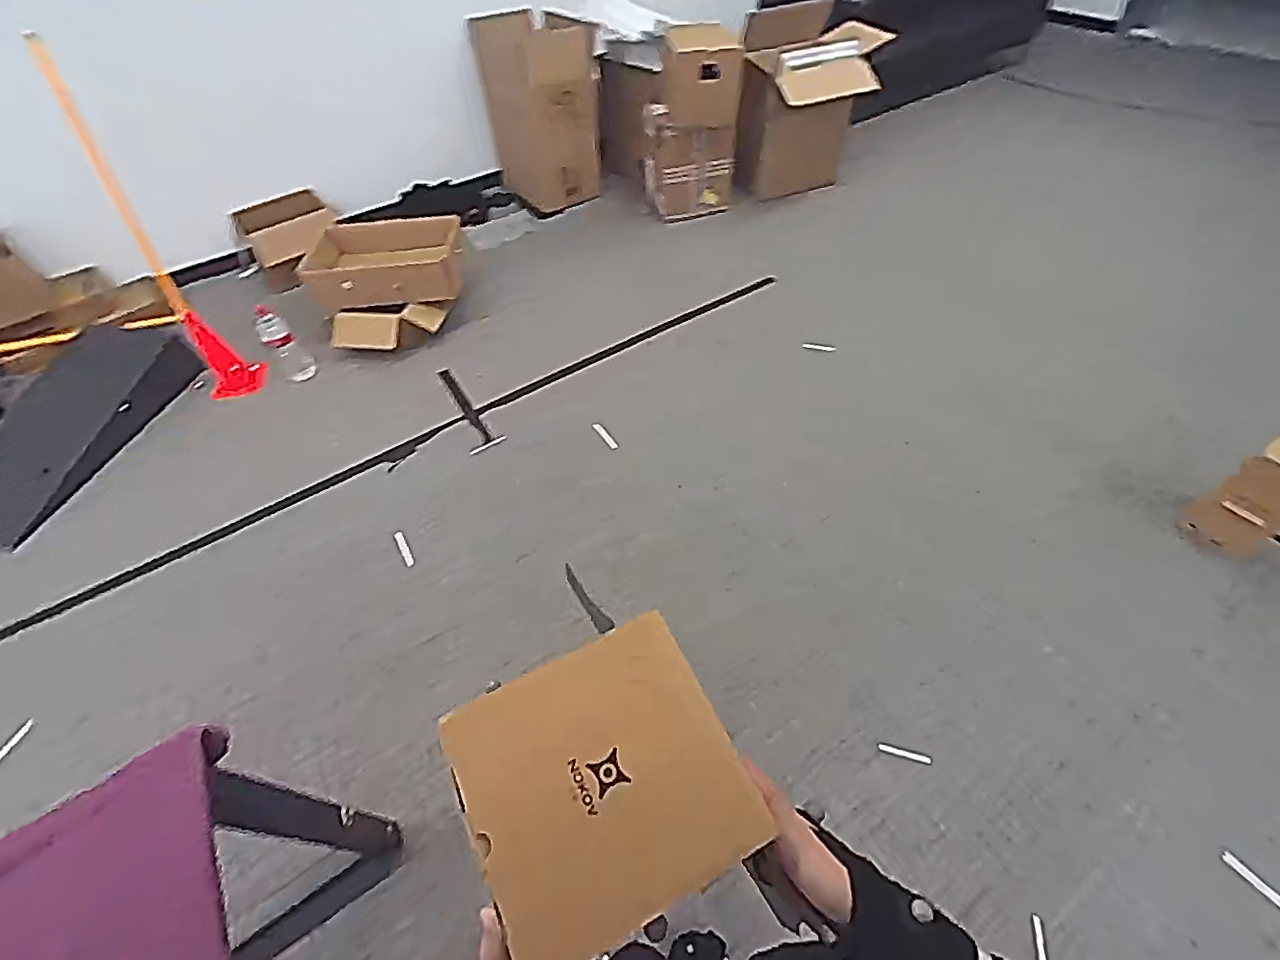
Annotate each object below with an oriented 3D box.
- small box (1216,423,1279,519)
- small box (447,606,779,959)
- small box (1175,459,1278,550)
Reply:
[{"bbox_3d":[1.752,-0.024,1.476,0.179,0.176,0.168,-31,57,-20],"label":"small box"},{"bbox_3d":[-0.023,0.227,0.429,0.179,0.176,0.168,-25,65,-12],"label":"small box"},{"bbox_3d":[1.761,0.076,1.604,0.179,0.176,0.168,-31,56,-19],"label":"small box"}]
